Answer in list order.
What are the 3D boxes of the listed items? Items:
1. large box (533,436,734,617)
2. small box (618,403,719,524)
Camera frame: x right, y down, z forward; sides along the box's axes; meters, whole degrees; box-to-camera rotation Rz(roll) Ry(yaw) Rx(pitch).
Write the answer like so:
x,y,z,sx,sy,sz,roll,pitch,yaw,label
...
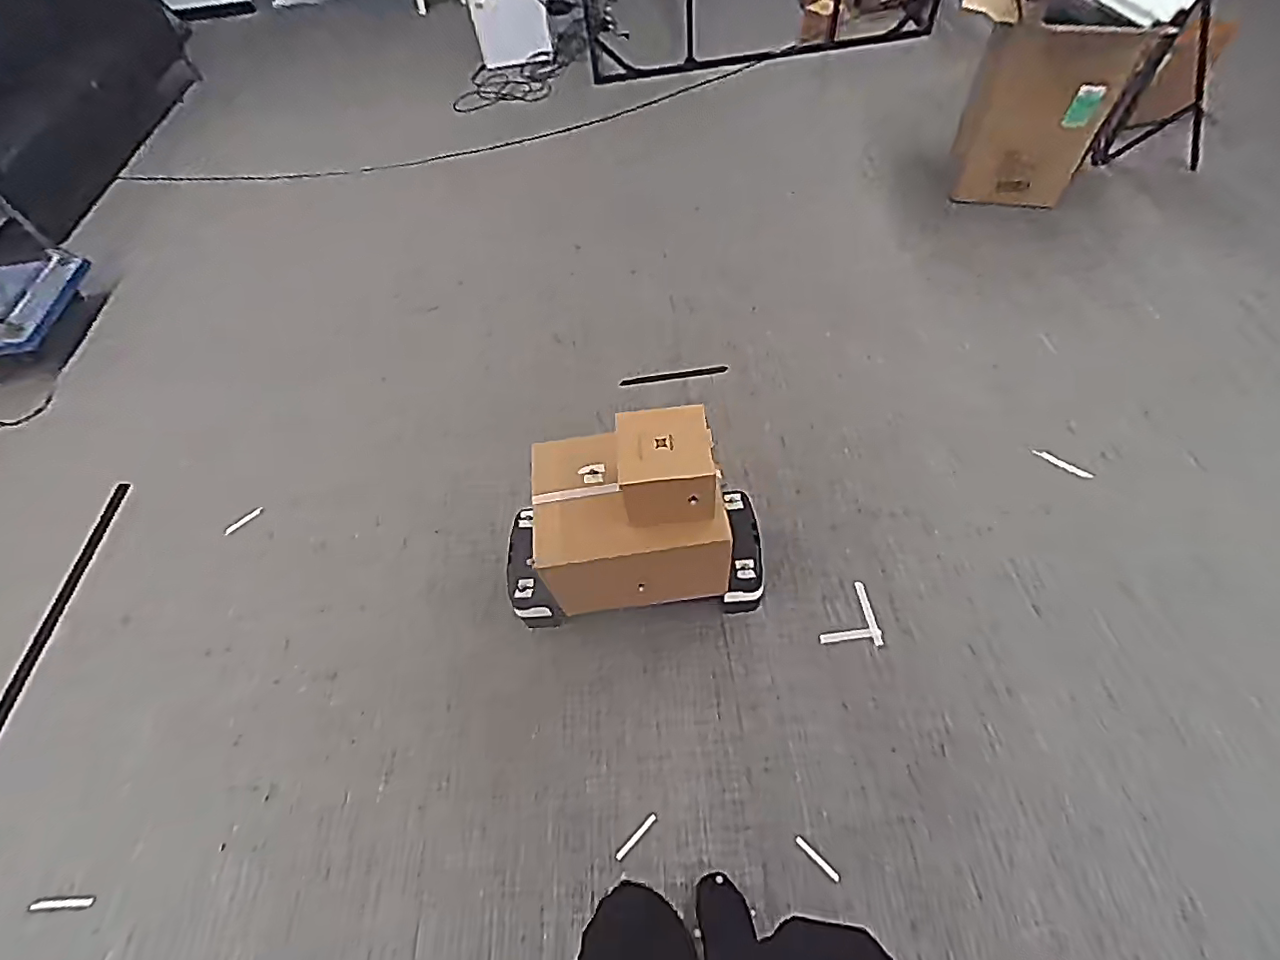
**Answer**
x,y,z,sx,sy,sz,roll,pitch,yaw,label
-0.011,0.104,1.271,0.408,0.320,0.320,-9,56,2,large box
0.055,-0.027,1.053,0.179,0.176,0.168,-6,58,4,small box
